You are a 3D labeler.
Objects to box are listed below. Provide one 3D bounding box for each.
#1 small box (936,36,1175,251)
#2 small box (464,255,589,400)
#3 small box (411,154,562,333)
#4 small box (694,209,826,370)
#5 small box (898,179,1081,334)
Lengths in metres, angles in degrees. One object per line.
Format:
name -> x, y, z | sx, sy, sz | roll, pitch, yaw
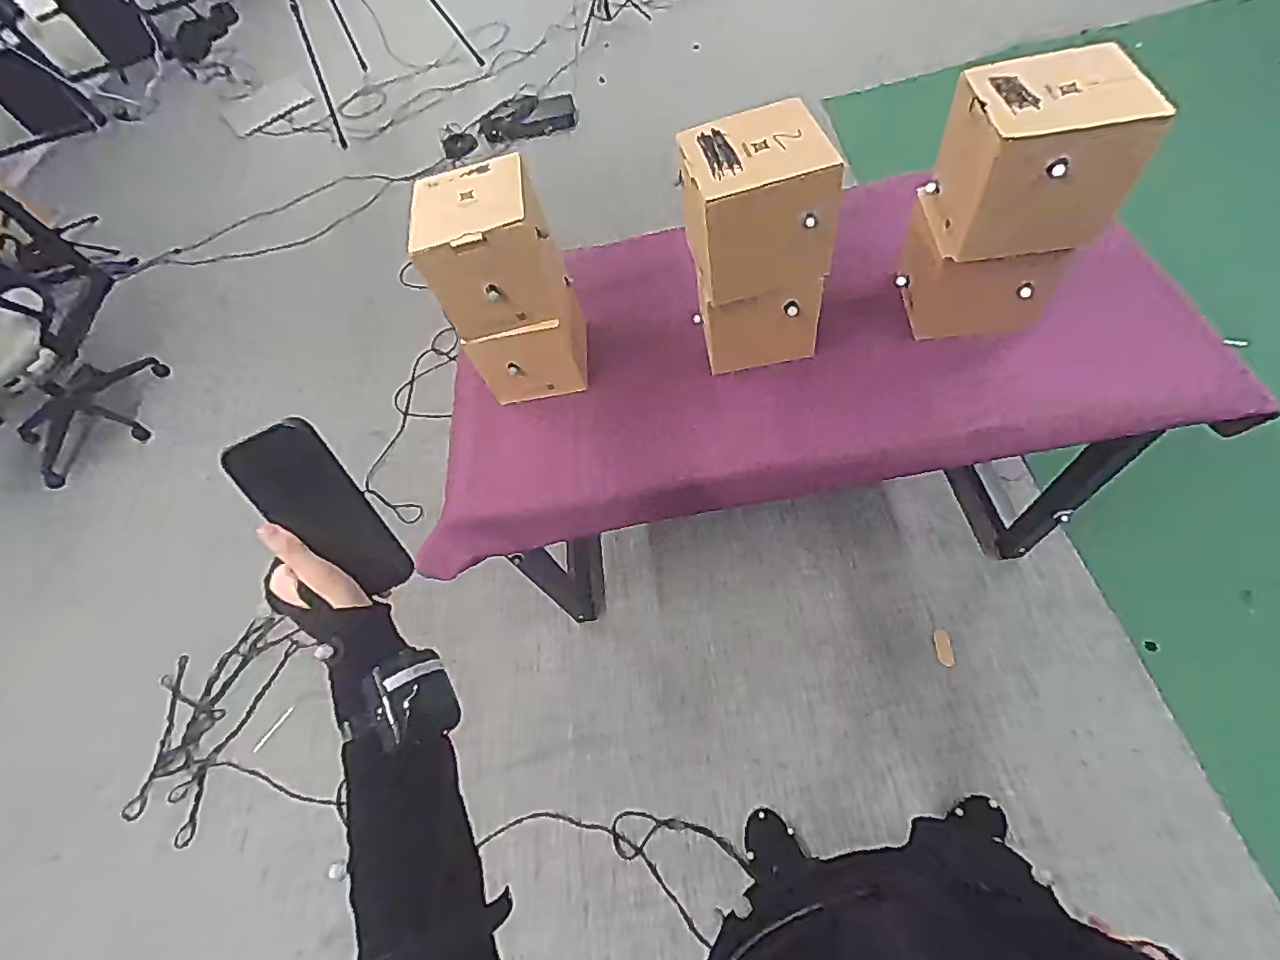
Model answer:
small box -> 0.503, -0.420, 0.696 | 0.179, 0.176, 0.168 | -4, 59, 10
small box -> -0.191, -0.259, 0.957 | 0.168, 0.176, 0.179 | -9, 59, 8
small box -> -0.224, -0.346, 0.822 | 0.168, 0.176, 0.179 | -13, 59, 5
small box -> 0.192, -0.307, 0.894 | 0.179, 0.176, 0.168 | -10, 59, 8
small box -> 0.525, -0.352, 0.843 | 0.179, 0.176, 0.168 | -4, 59, 11
